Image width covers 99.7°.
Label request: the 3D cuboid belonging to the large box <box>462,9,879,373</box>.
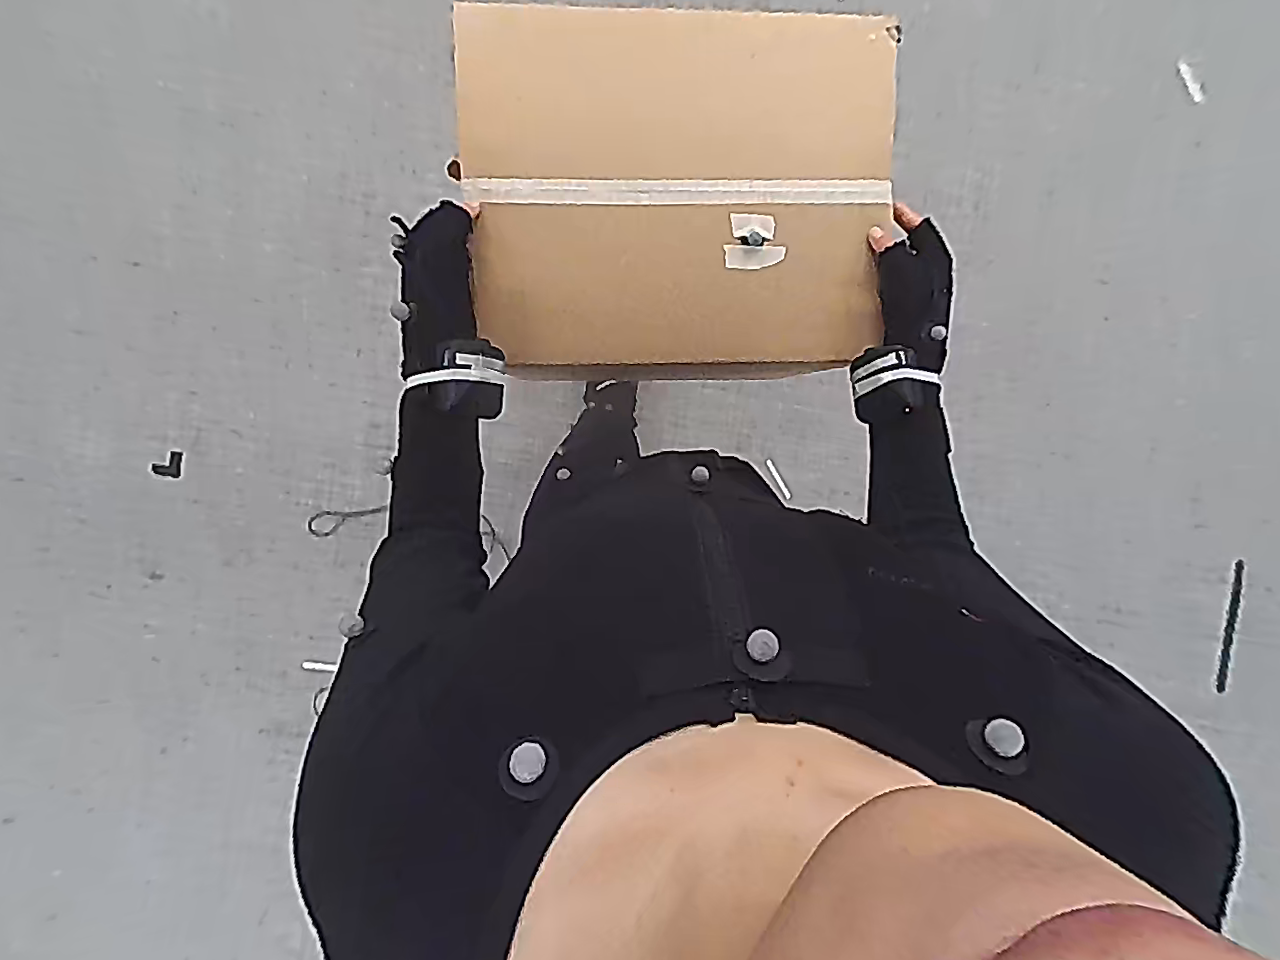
[{"bbox_3d":[0.025,-0.306,0.675,0.408,0.320,0.320,-2,98,-5],"label":"large box"}]
